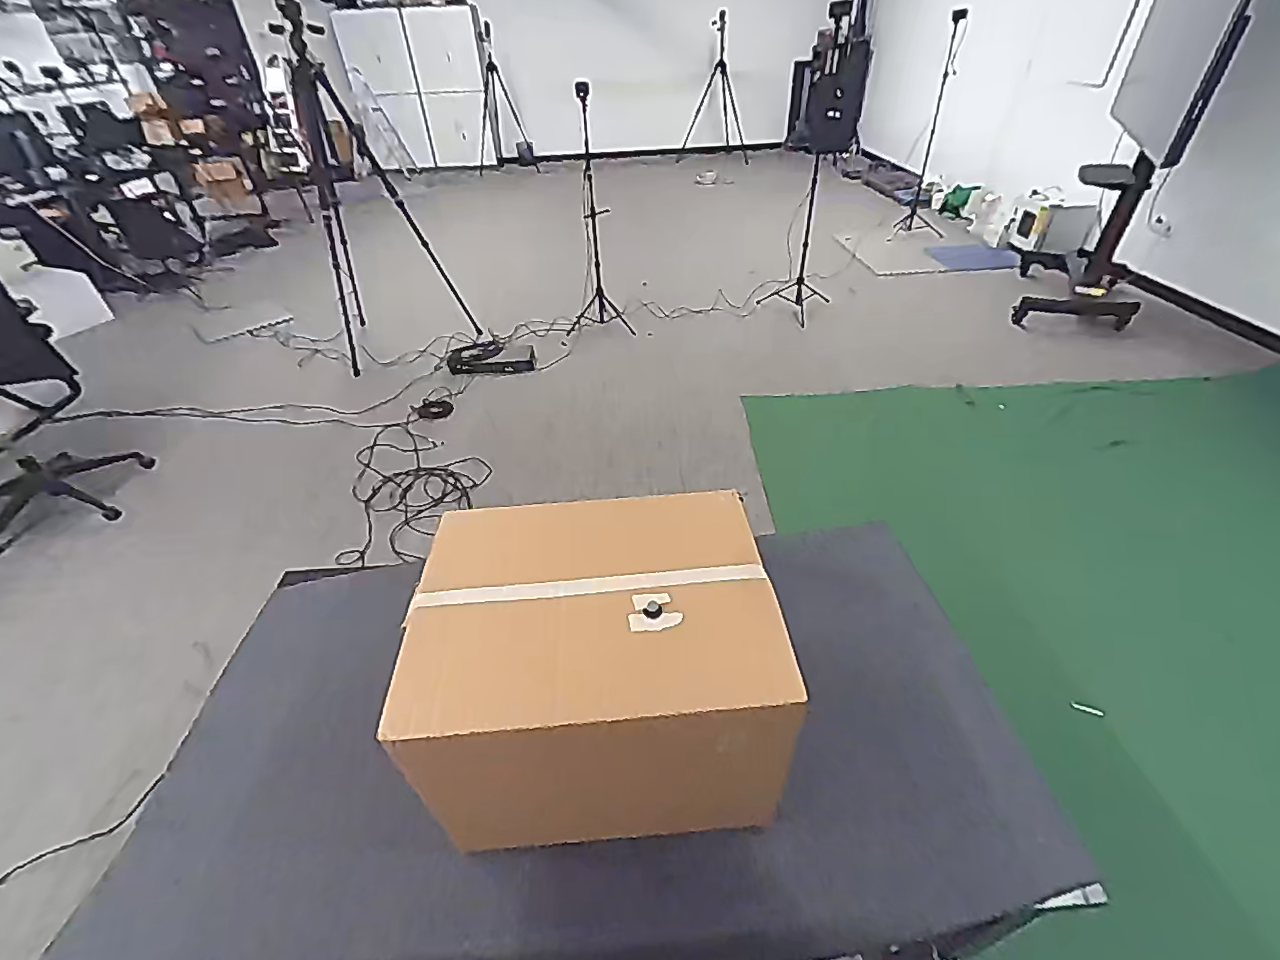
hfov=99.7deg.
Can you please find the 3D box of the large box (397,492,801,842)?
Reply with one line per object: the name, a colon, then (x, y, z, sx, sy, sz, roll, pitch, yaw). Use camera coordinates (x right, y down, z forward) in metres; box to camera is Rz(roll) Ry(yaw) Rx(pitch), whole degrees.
large box: (-0.047, 0.243, 0.730, 0.408, 0.320, 0.320, -4, 40, -2)
